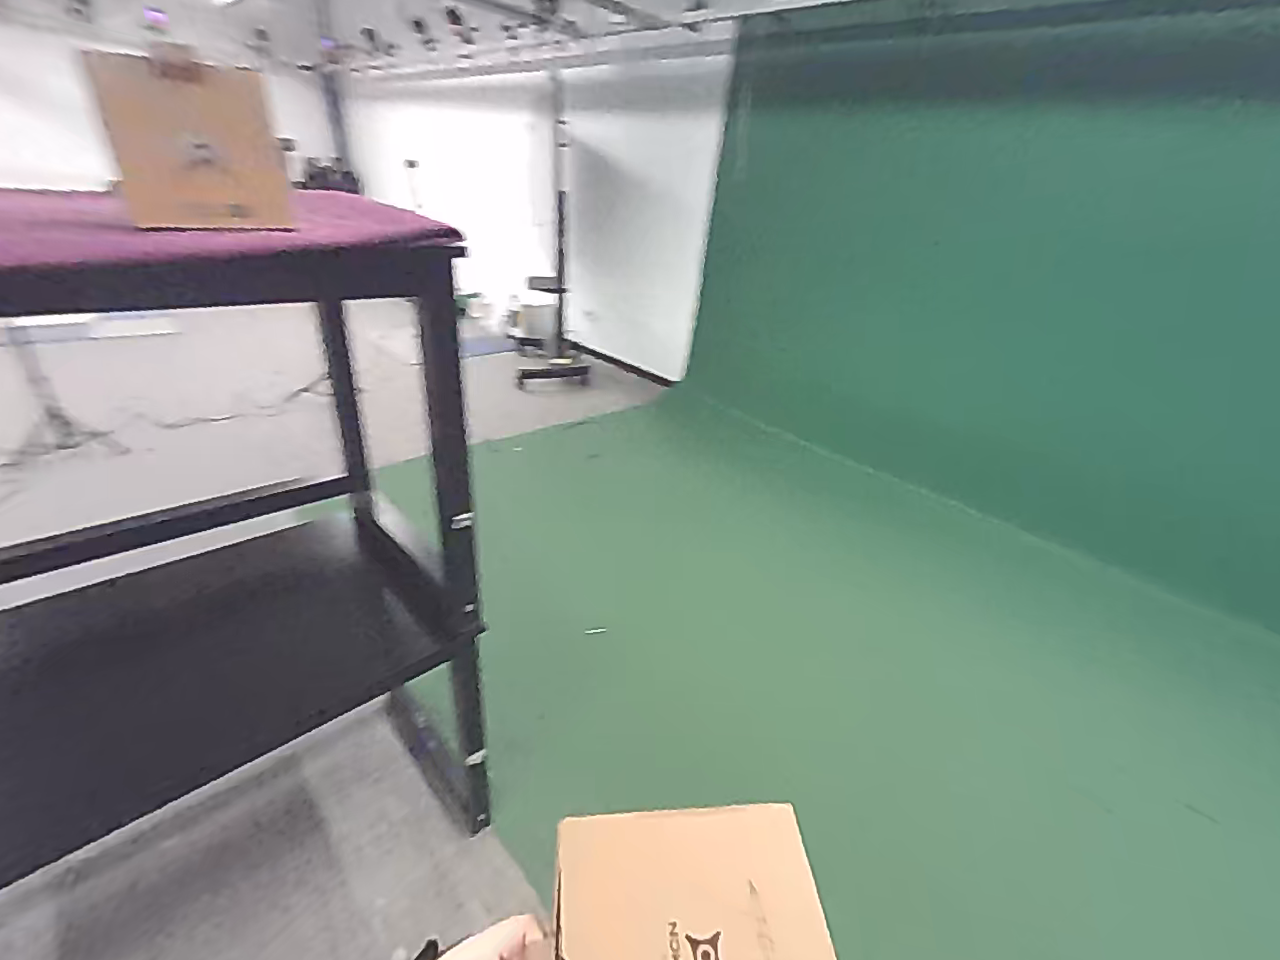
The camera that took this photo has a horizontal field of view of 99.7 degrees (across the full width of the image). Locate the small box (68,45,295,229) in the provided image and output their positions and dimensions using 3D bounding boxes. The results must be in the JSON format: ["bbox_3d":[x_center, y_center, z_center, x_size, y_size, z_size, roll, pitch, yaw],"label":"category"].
[{"bbox_3d":[-0.549,-0.409,0.668,0.168,0.176,0.179,-17,34,-33],"label":"small box"}]
